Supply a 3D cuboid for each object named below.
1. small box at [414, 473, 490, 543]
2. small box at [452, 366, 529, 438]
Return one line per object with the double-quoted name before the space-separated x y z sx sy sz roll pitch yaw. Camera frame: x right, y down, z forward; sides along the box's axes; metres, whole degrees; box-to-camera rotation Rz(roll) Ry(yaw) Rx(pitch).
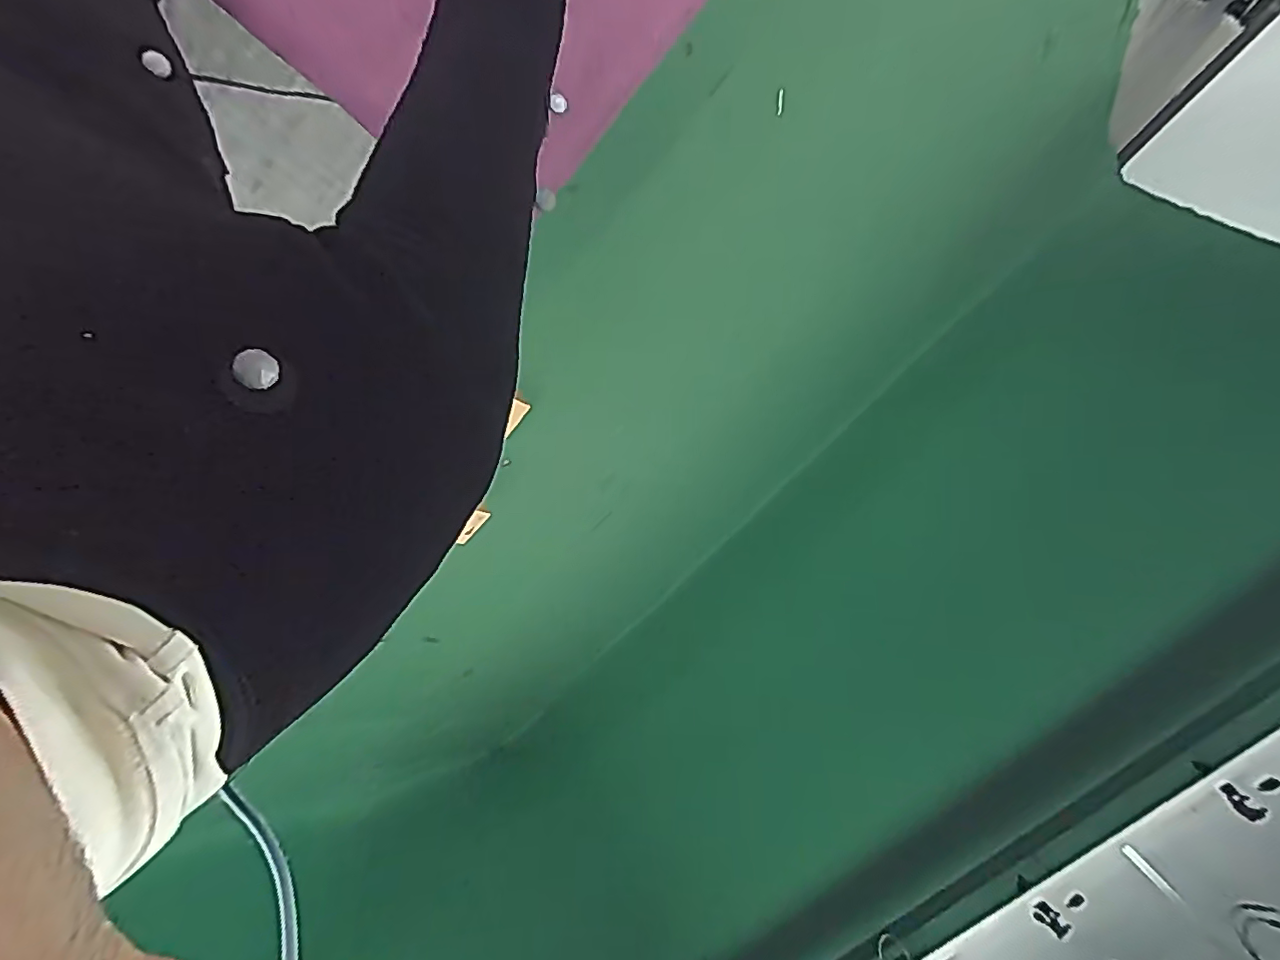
"small box" -0.682 0.098 1.946 0.168 0.176 0.179 -45 146 12
"small box" -0.538 -0.281 1.929 0.168 0.176 0.179 -48 148 14
